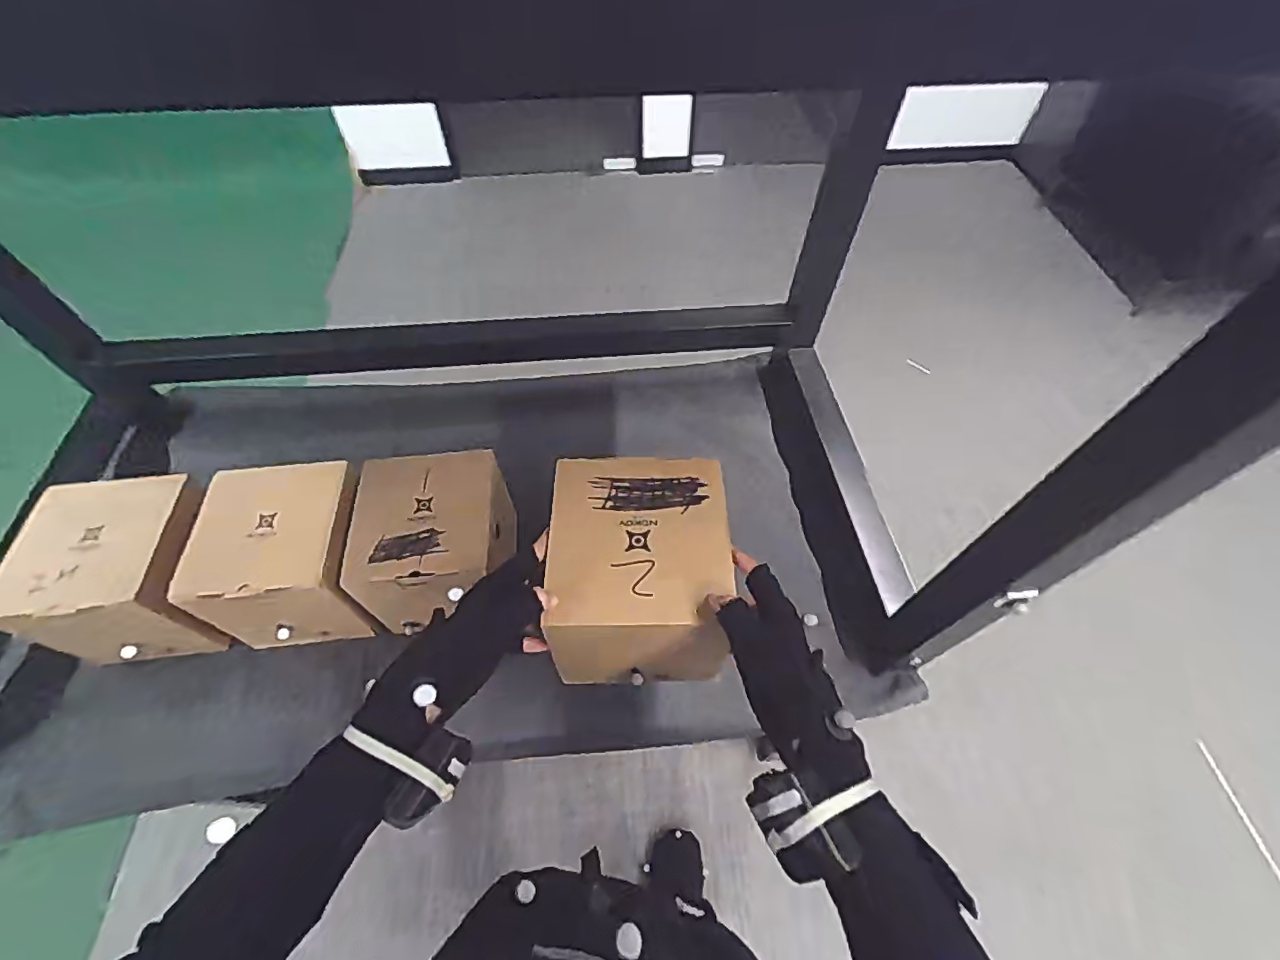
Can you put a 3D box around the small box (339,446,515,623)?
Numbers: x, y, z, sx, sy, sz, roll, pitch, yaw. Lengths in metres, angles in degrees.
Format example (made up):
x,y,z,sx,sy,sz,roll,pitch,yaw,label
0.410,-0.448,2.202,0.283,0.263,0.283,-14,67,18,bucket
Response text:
x,y,z,sx,sy,sz,roll,pitch,yaw,label
-0.264,0.080,0.717,0.168,0.176,0.179,-5,55,-4,small box

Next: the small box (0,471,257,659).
x,y,z,sx,sy,sz,roll,pitch,yaw,label
-0.636,0.111,0.693,0.168,0.176,0.179,-6,56,-4,small box
